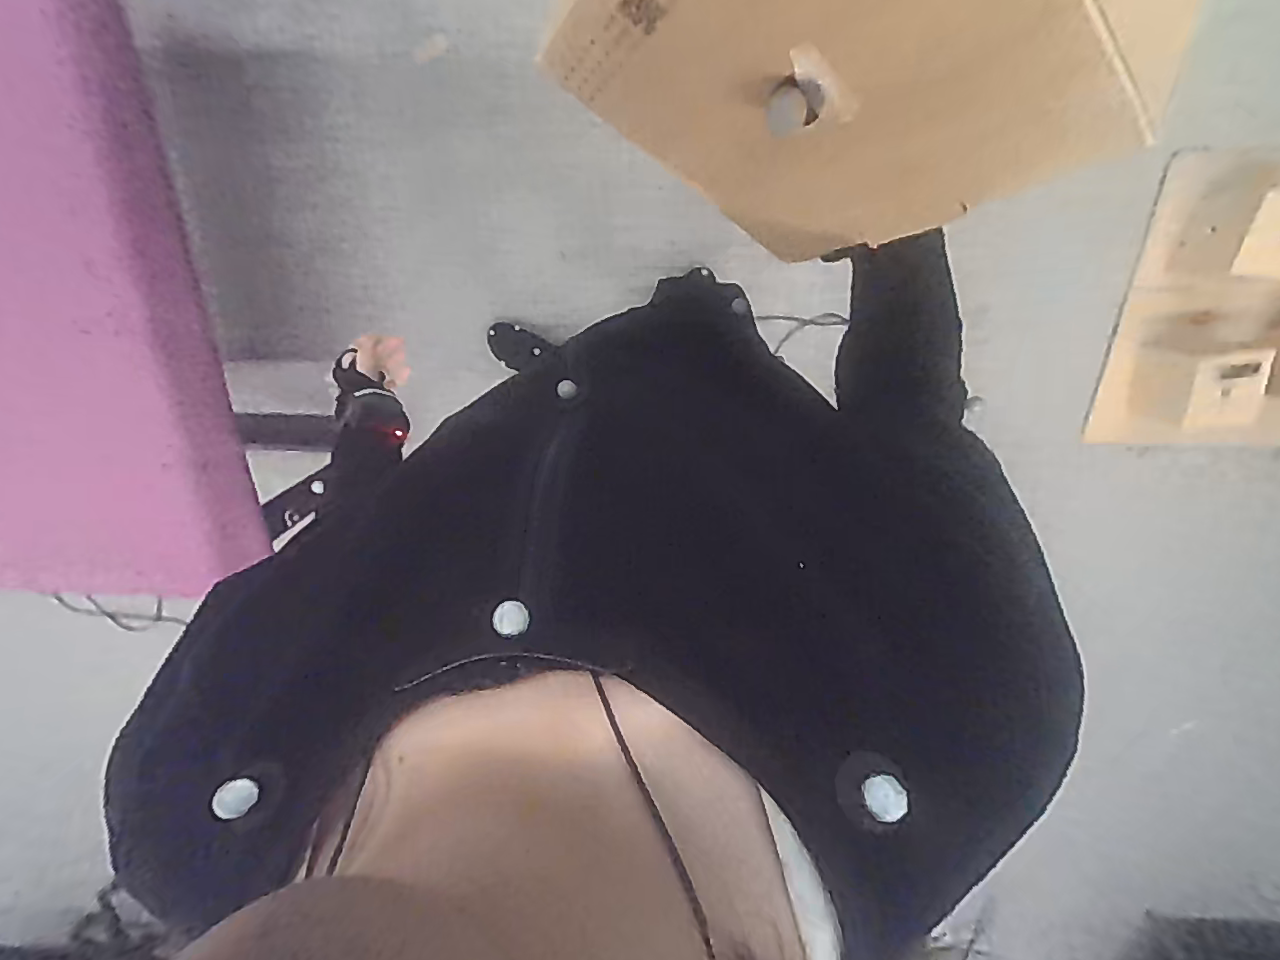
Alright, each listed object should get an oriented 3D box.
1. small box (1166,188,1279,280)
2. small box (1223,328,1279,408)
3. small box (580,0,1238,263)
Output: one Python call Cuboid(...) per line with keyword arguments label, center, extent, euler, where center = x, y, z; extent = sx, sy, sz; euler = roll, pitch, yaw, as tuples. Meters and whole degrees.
Cuboid(label="small box", center=(1.358, -0.542, 1.210), extent=(0.179, 0.176, 0.168), euler=(5, 112, -1))
Cuboid(label="small box", center=(1.615, -0.260, 1.314), extent=(0.179, 0.176, 0.168), euler=(18, 110, -6))
Cuboid(label="small box", center=(0.100, -0.224, 0.207), extent=(0.176, 0.168, 0.179), euler=(24, 83, -31))
